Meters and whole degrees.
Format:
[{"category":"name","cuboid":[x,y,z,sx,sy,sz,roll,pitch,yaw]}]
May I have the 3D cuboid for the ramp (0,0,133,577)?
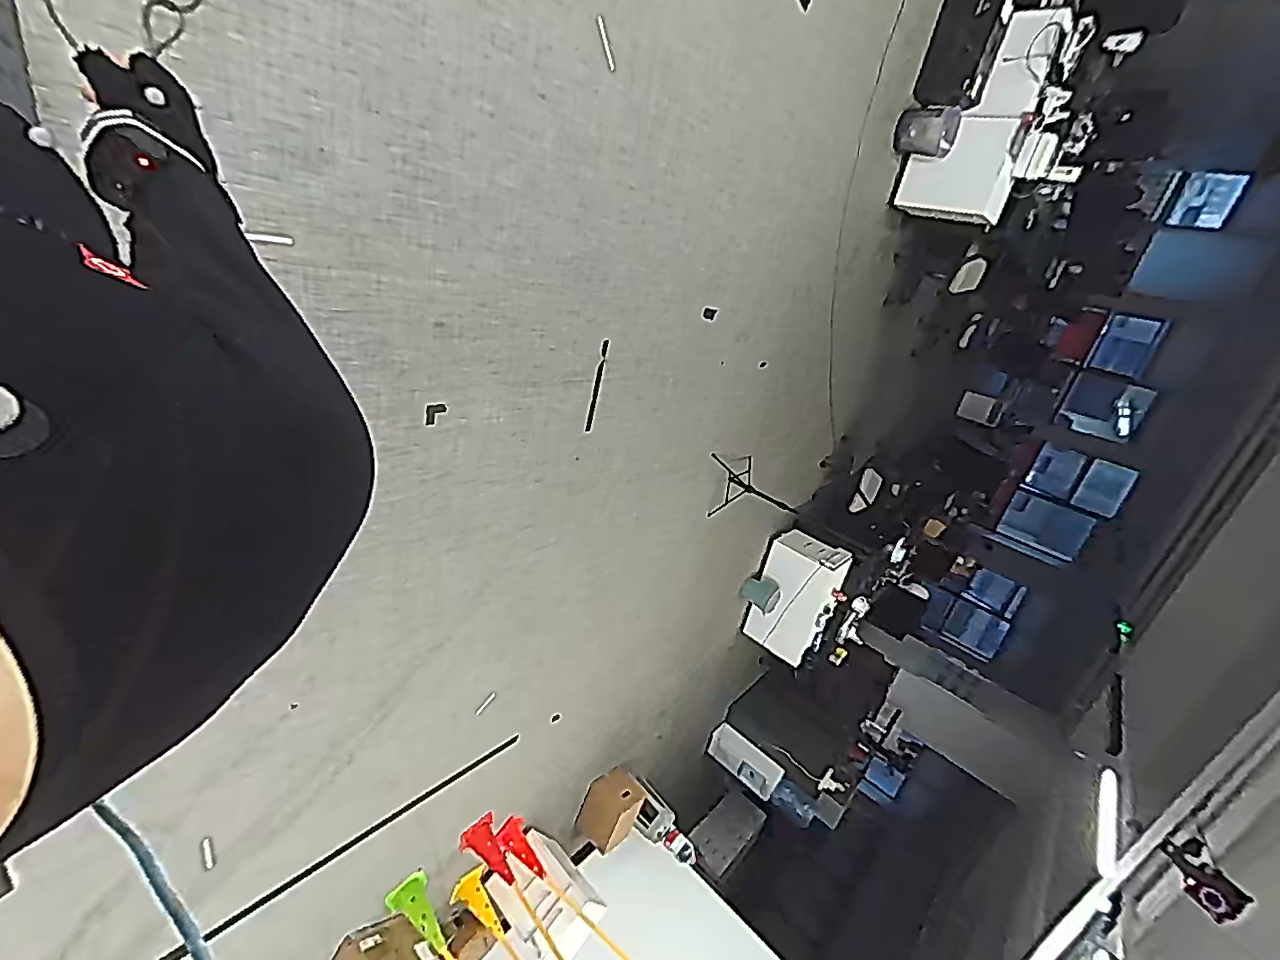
[{"category":"ramp","cuboid":[-1.220,-0.284,0.842,0.509,0.206,0.991,-16,126,-45]}]
